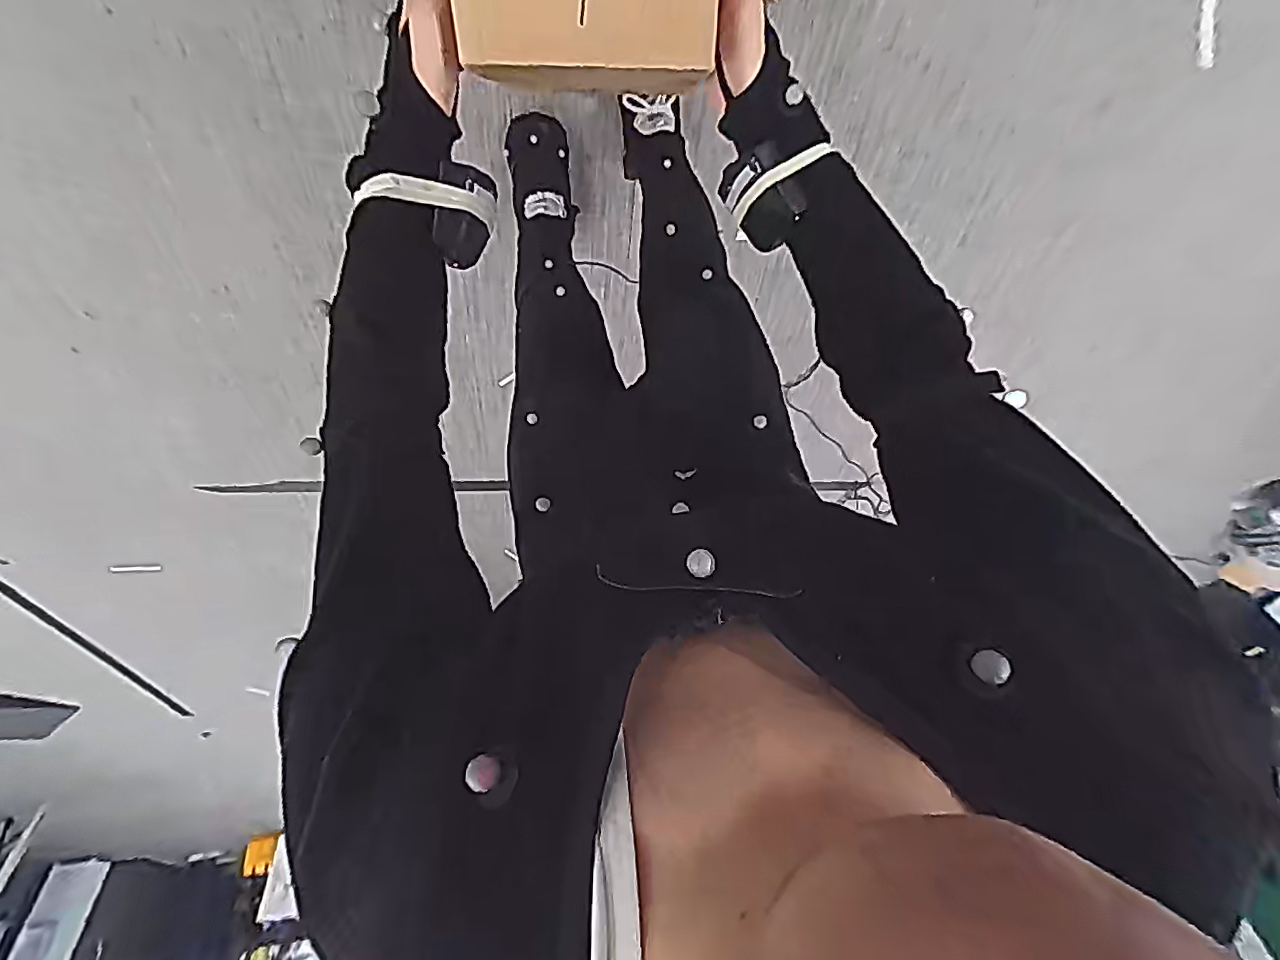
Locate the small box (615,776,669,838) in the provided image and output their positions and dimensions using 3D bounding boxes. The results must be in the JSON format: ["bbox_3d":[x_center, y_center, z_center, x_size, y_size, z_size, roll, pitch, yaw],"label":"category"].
[{"bbox_3d":[0.002,1.140,1.877,0.168,0.176,0.179,-3,140,-6],"label":"small box"}]

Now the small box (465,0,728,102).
[{"bbox_3d":[-0.028,-0.382,0.377,0.168,0.176,0.179,0,121,-2],"label":"small box"}]

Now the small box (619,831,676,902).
[{"bbox_3d":[0.019,1.258,1.765,0.168,0.176,0.179,-4,140,-4],"label":"small box"}]
